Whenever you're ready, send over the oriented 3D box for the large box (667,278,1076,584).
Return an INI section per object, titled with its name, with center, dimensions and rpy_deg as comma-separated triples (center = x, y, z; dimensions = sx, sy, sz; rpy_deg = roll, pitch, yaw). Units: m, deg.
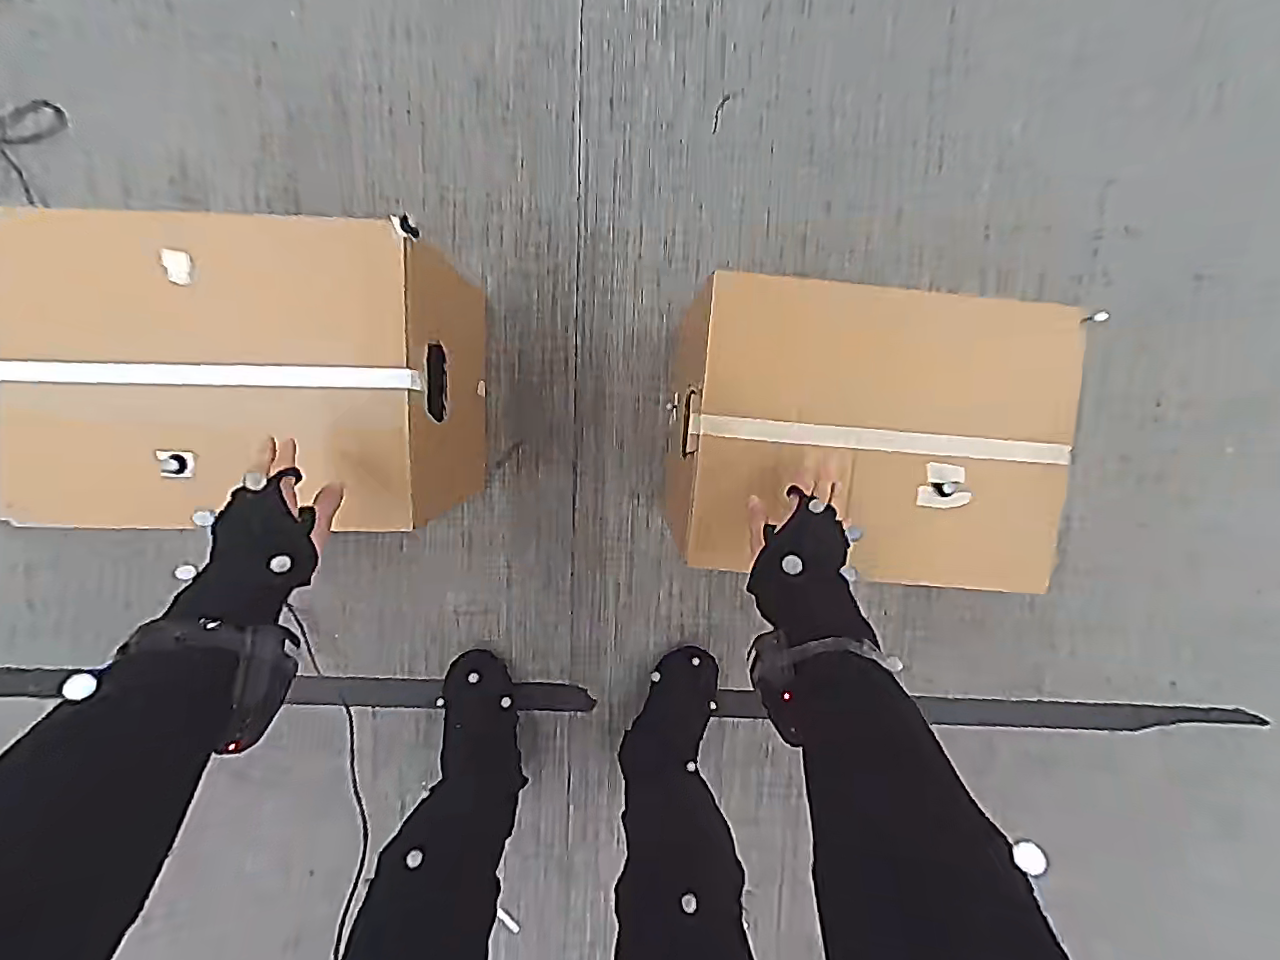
[large box]
center = 0.258, -0.059, 0.736
dimensions = 0.408, 0.320, 0.320
rpy_deg = 5, 96, -4
